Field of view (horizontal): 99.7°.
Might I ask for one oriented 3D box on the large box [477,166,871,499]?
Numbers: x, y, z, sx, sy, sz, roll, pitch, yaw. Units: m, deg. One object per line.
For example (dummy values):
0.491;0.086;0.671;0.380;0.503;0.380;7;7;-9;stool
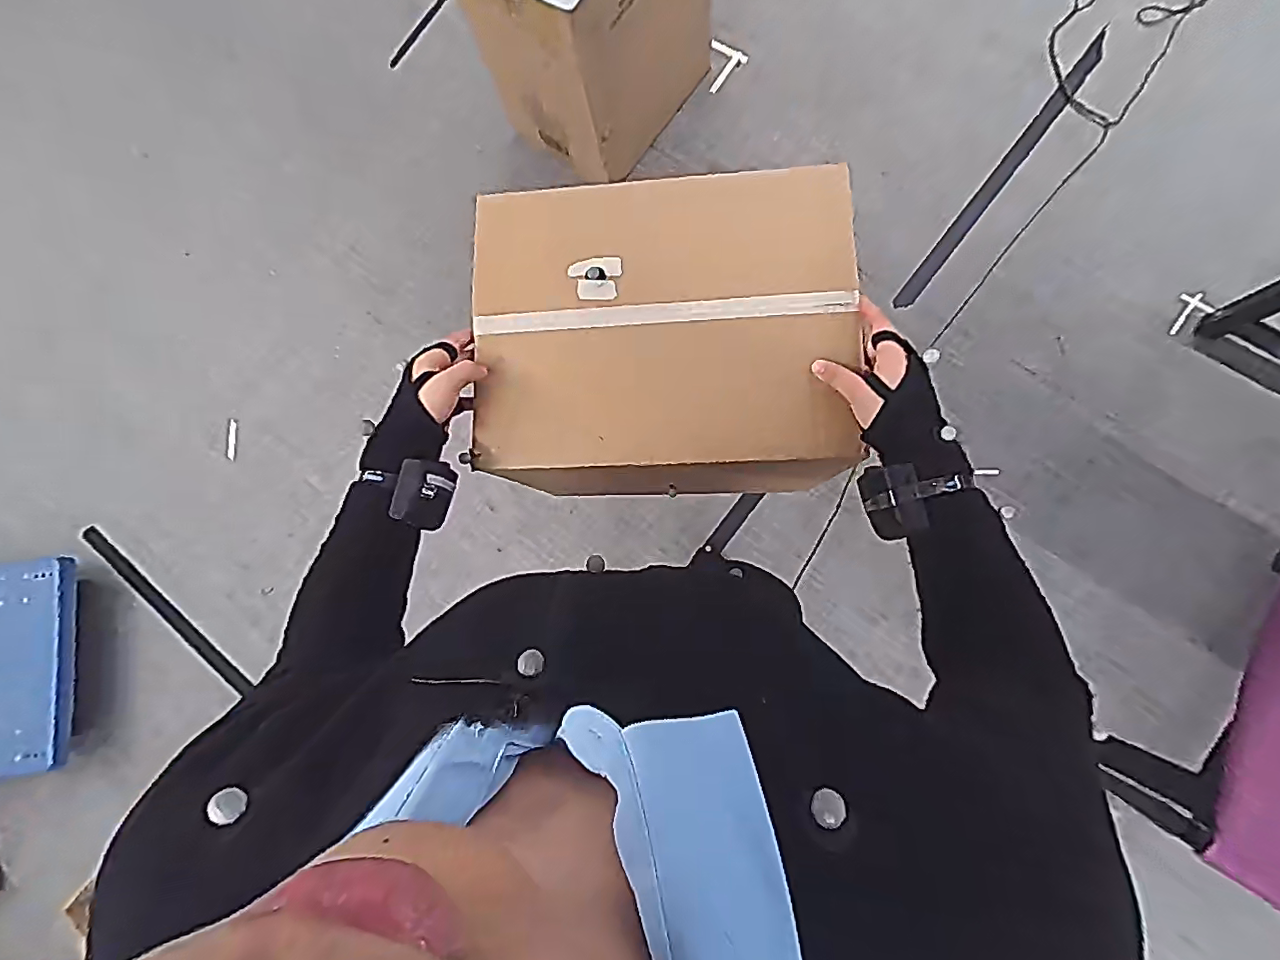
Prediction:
0.042;-0.146;0.709;0.408;0.320;0.320;-2;81;7;large box
